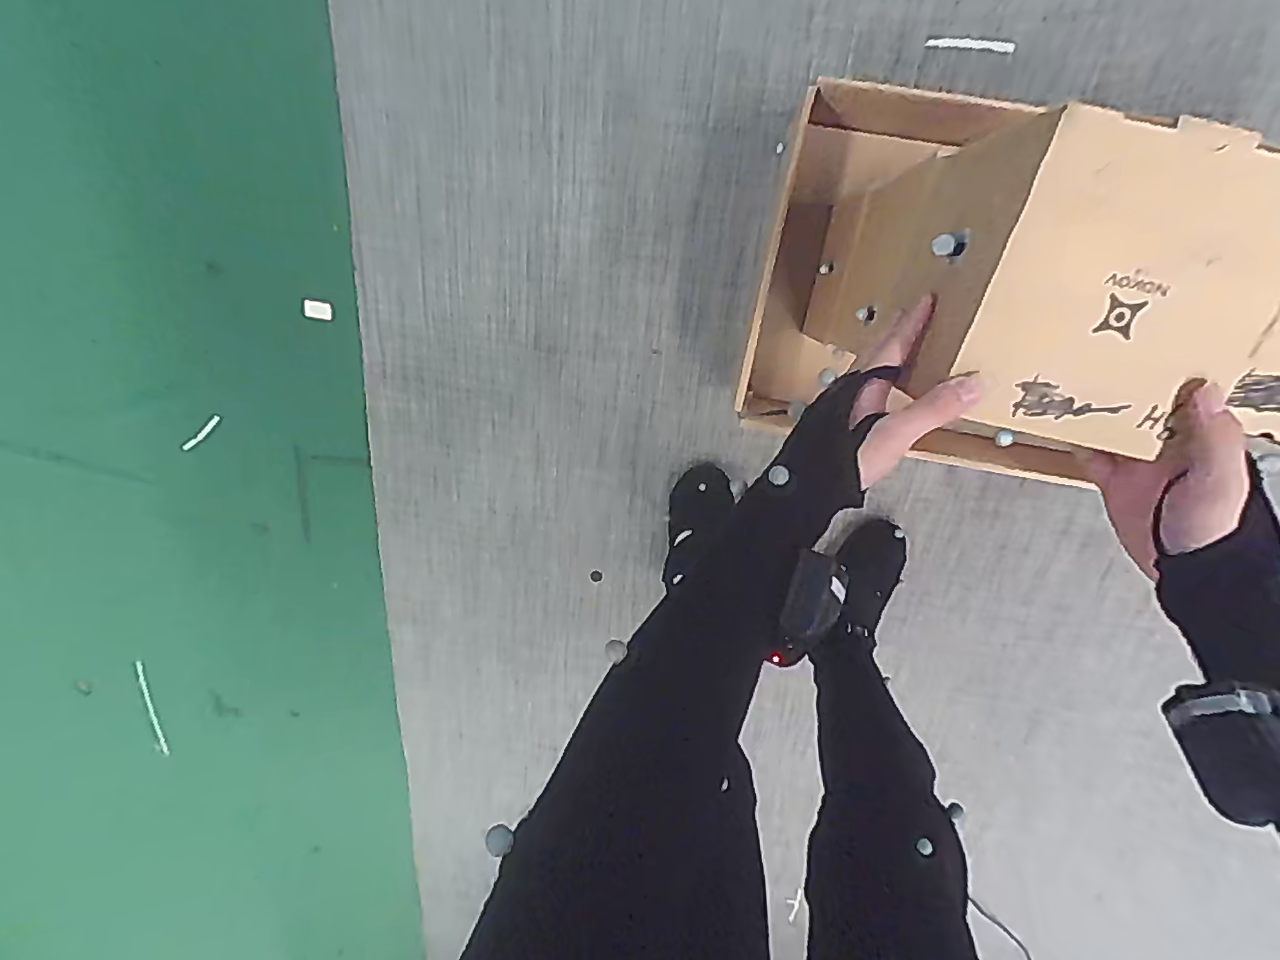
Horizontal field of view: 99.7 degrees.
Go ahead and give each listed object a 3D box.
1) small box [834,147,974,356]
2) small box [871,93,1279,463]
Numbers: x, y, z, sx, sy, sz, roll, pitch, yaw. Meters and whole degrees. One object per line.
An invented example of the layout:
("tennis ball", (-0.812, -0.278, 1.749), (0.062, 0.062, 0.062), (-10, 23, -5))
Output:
("small box", (0.311, -0.201, 0.538), (0.168, 0.176, 0.179), (11, 111, 1))
("small box", (0.293, -0.134, 0.389), (0.168, 0.176, 0.179), (13, 111, 0))
